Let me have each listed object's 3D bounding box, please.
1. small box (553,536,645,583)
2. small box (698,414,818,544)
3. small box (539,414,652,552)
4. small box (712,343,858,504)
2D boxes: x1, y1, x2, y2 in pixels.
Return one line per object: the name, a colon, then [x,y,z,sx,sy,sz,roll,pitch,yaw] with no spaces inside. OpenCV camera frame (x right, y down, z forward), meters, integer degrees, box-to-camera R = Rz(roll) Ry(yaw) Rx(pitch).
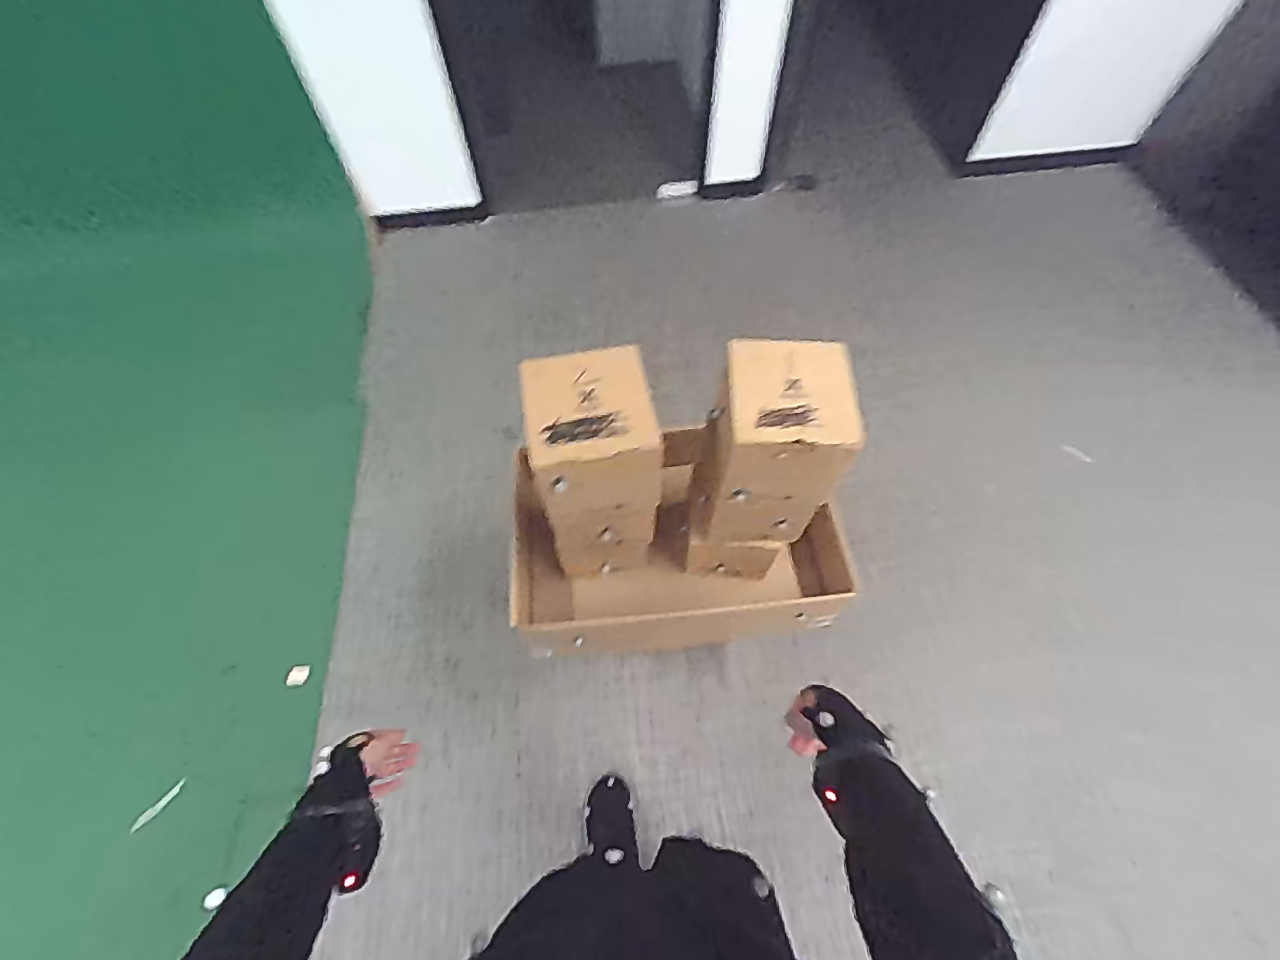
small box: [-0.085,0.084,1.072,0.168,0.176,0.179,-9,60,-5]
small box: [0.192,0.003,0.934,0.168,0.176,0.179,0,60,-1]
small box: [-0.073,0.013,0.925,0.168,0.176,0.179,-8,61,-6]
small box: [0.198,-0.077,0.791,0.168,0.176,0.179,2,59,0]
